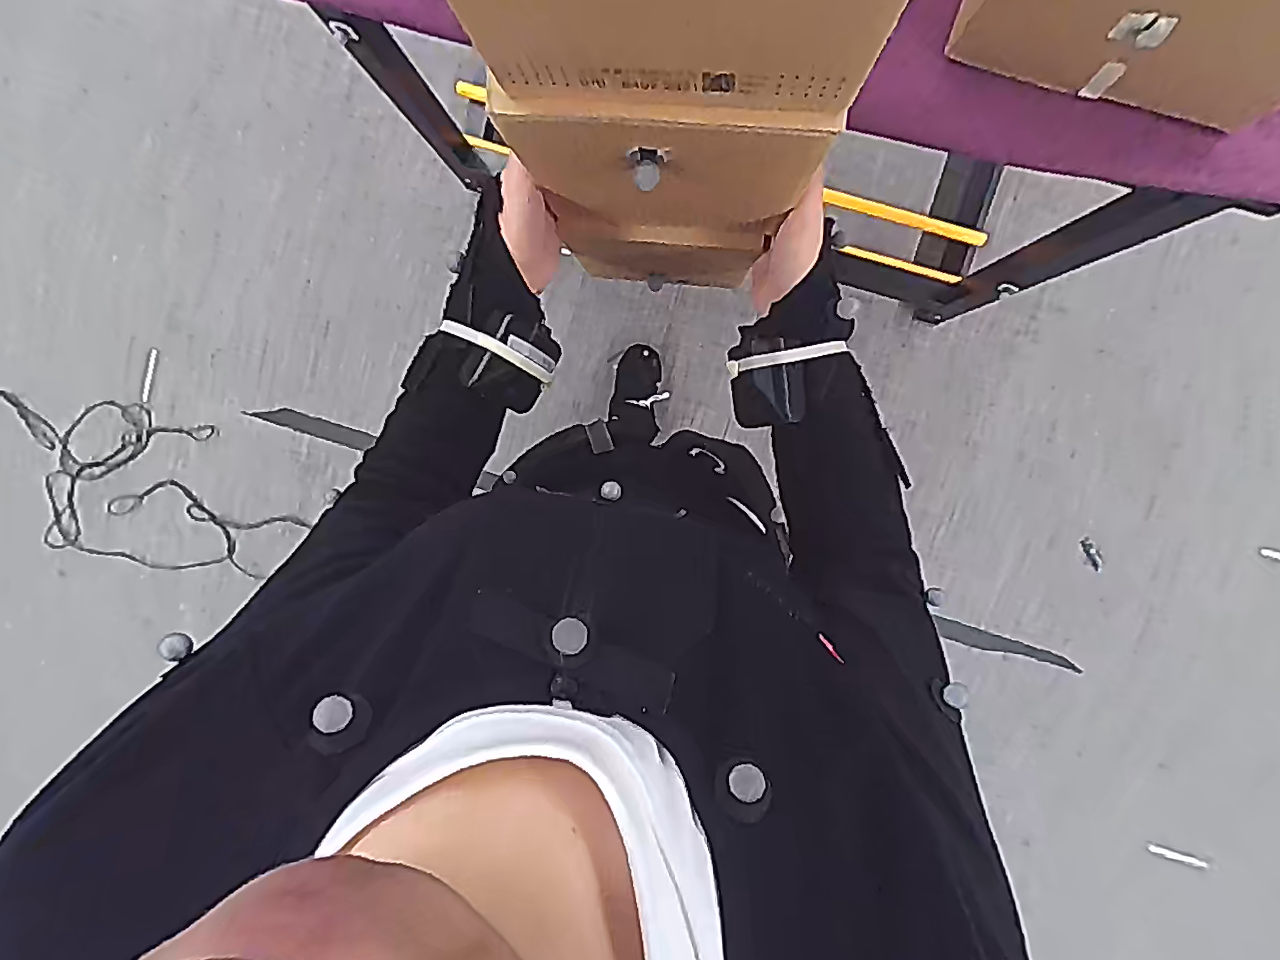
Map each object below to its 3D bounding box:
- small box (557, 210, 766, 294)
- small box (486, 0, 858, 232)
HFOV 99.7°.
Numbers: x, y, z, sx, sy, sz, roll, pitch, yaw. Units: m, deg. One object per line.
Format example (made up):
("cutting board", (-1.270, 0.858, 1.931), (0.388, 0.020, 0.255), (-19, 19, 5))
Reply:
("small box", (0.028, -0.280, 0.489), (0.168, 0.176, 0.179), (6, 100, 4))
("small box", (0.022, -0.262, 0.328), (0.179, 0.176, 0.168), (5, 100, 4))
